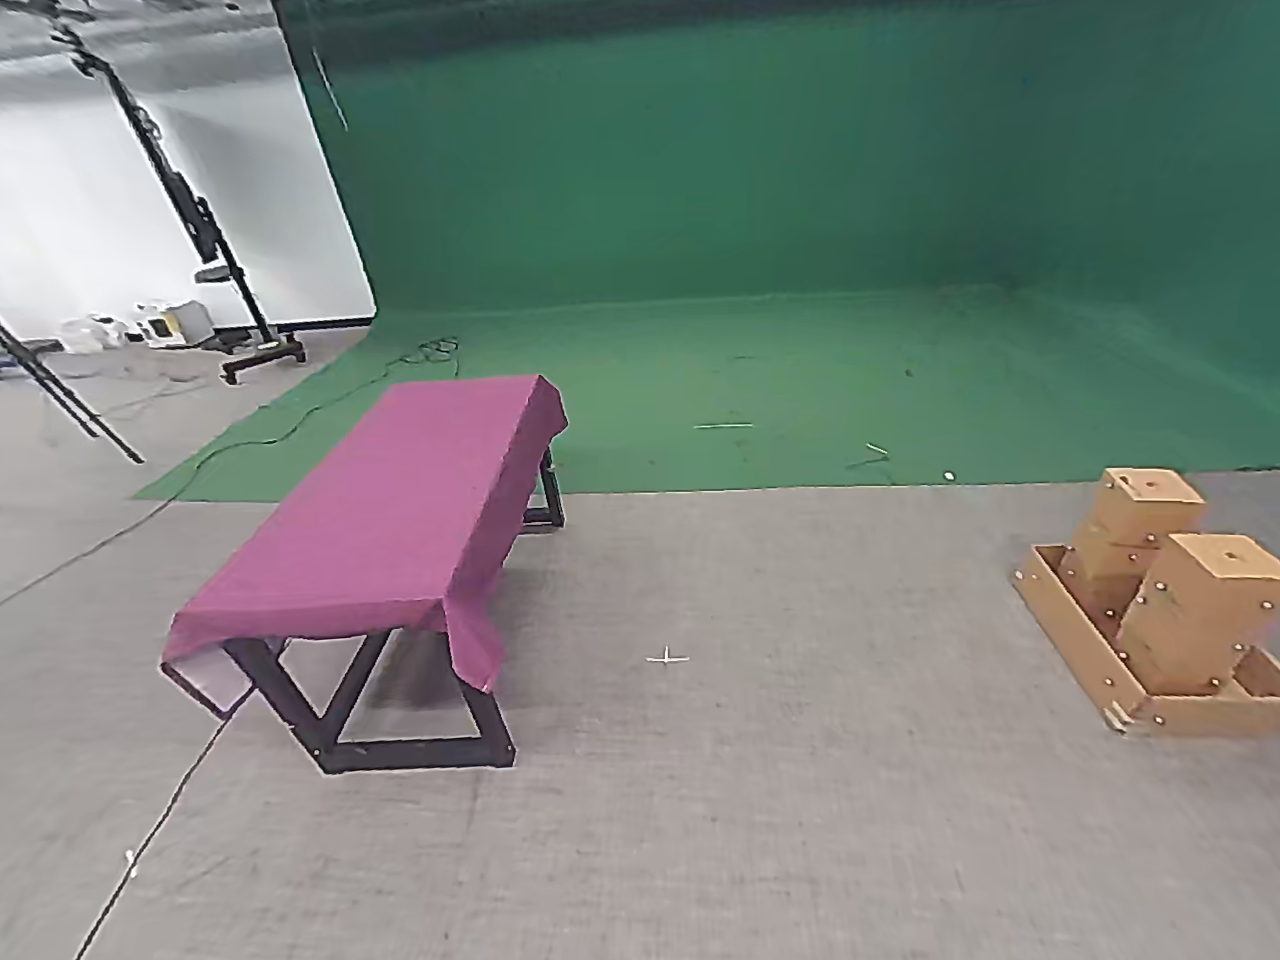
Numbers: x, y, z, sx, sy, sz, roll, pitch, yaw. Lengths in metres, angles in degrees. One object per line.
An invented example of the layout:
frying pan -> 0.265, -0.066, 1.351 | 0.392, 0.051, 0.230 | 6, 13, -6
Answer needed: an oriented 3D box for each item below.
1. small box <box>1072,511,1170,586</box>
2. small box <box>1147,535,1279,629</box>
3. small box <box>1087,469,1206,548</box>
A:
small box -> 1.505, 0.216, 1.700 | 0.179, 0.176, 0.168 | 3, 35, 11
small box -> 1.451, 0.256, 1.360 | 0.179, 0.176, 0.168 | 0, 33, 9
small box -> 1.487, 0.085, 1.601 | 0.179, 0.176, 0.168 | 4, 35, 12
